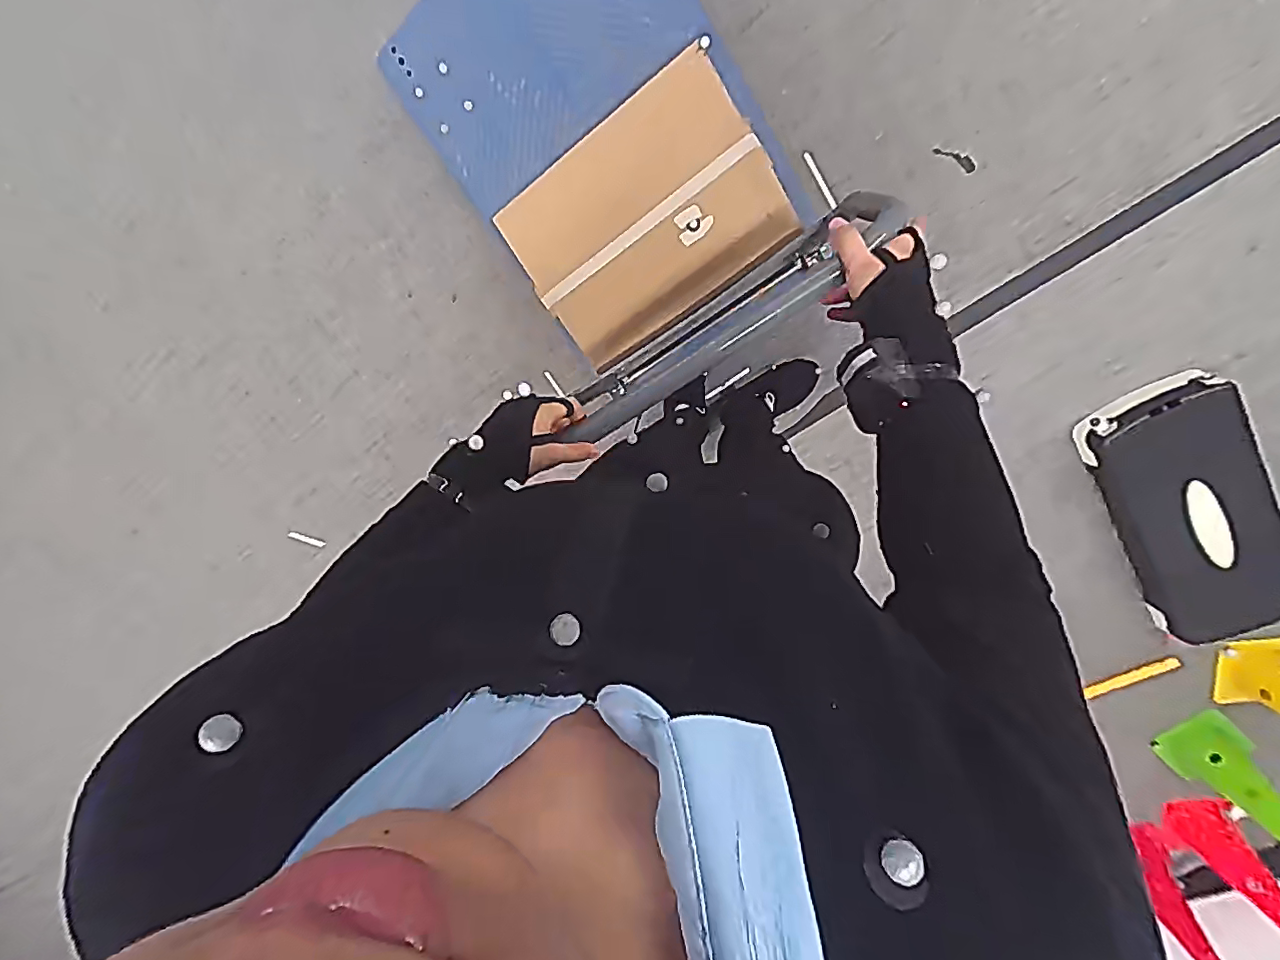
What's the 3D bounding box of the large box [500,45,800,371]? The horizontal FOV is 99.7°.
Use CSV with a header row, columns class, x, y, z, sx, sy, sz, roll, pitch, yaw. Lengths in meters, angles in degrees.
class,x,y,z,sx,sy,sz,roll,pitch,yaw
large box,0.027,-0.458,1.010,0.408,0.320,0.320,-31,102,17
